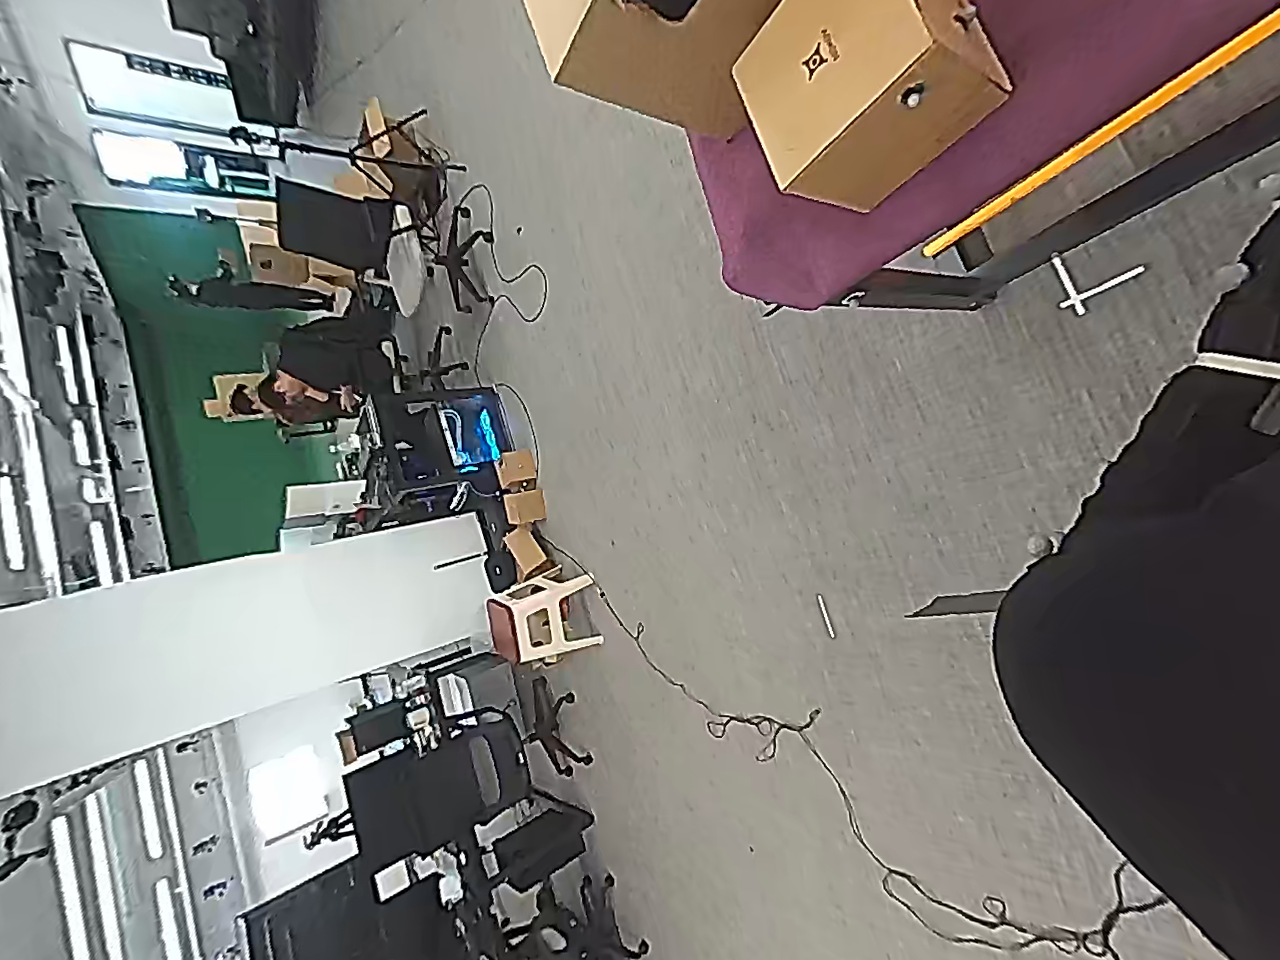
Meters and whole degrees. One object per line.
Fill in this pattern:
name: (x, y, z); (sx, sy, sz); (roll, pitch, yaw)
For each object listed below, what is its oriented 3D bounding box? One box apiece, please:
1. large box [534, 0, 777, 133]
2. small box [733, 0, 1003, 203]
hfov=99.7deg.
large box: (0.045, -0.715, 0.626); (0.320, 0.320, 0.408); (-29, 79, 52)
small box: (0.236, -0.428, 0.575); (0.179, 0.176, 0.168); (-31, 74, 52)
